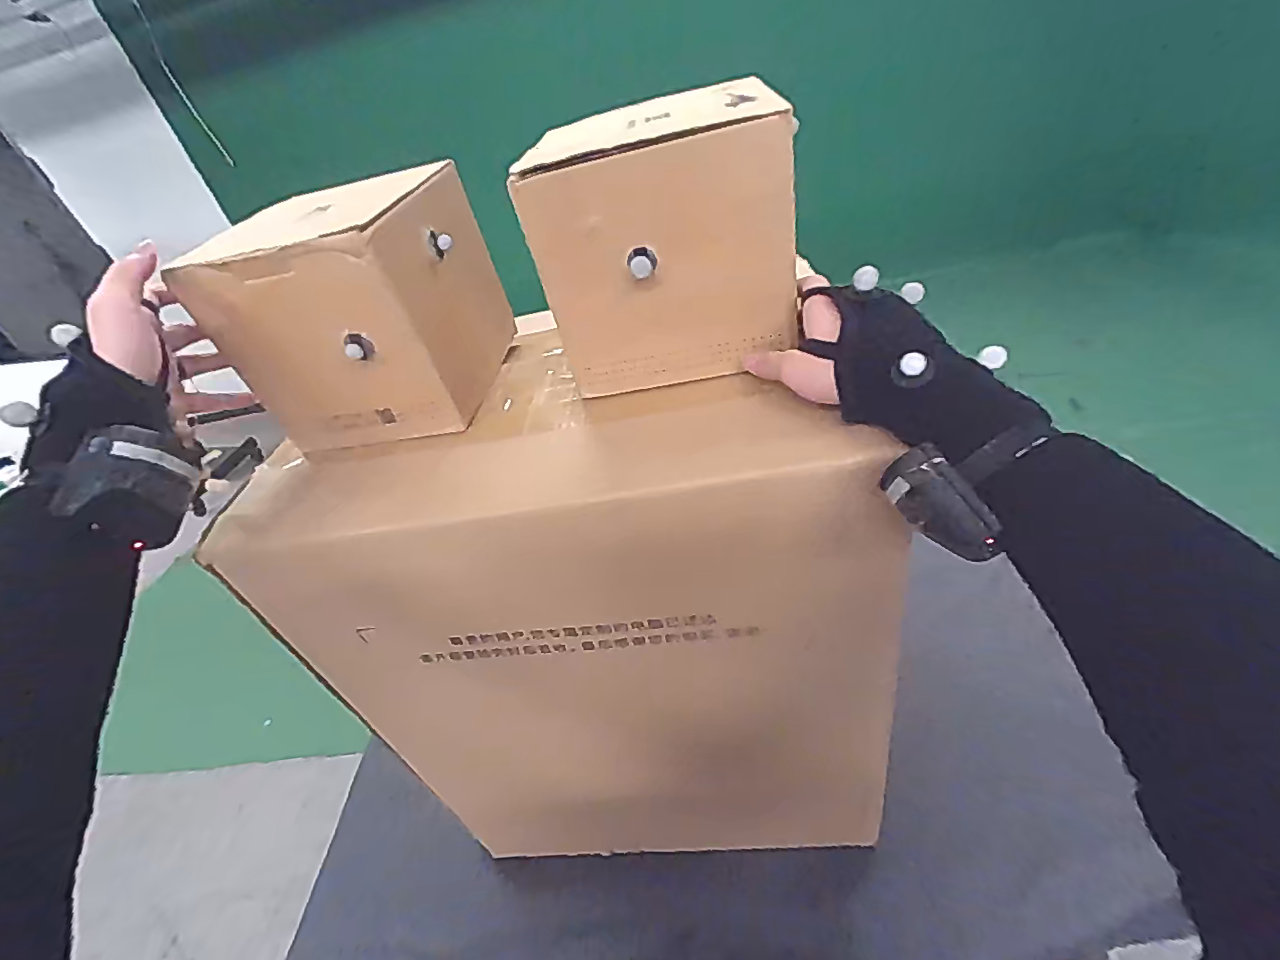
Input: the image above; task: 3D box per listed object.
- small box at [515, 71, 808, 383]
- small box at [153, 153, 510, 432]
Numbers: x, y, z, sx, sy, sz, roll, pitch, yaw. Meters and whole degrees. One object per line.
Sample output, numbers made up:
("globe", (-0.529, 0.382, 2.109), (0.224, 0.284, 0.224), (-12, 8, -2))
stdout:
("small box", (0.026, -0.194, 0.427), (0.179, 0.176, 0.168), (-9, 40, 8))
("small box", (-0.227, -0.153, 0.461), (0.168, 0.176, 0.179), (-5, 40, 9))
